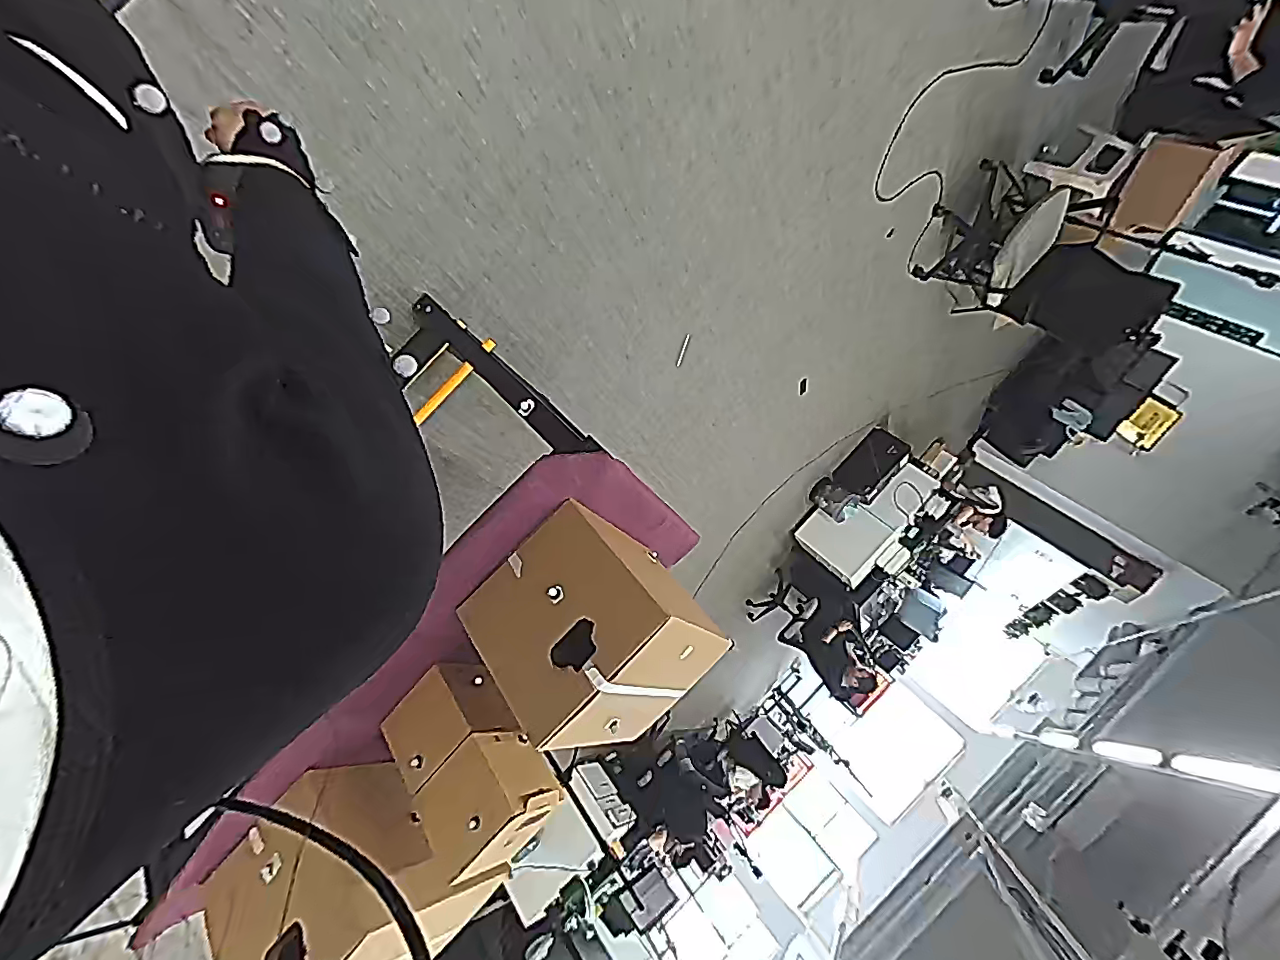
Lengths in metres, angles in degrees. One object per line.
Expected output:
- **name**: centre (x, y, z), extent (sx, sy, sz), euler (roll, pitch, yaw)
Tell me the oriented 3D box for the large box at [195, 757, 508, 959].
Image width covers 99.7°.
- **large box**: centre (-0.560, 0.814, 1.093), extent (0.320, 0.320, 0.408), euler (-47, 150, 0)
